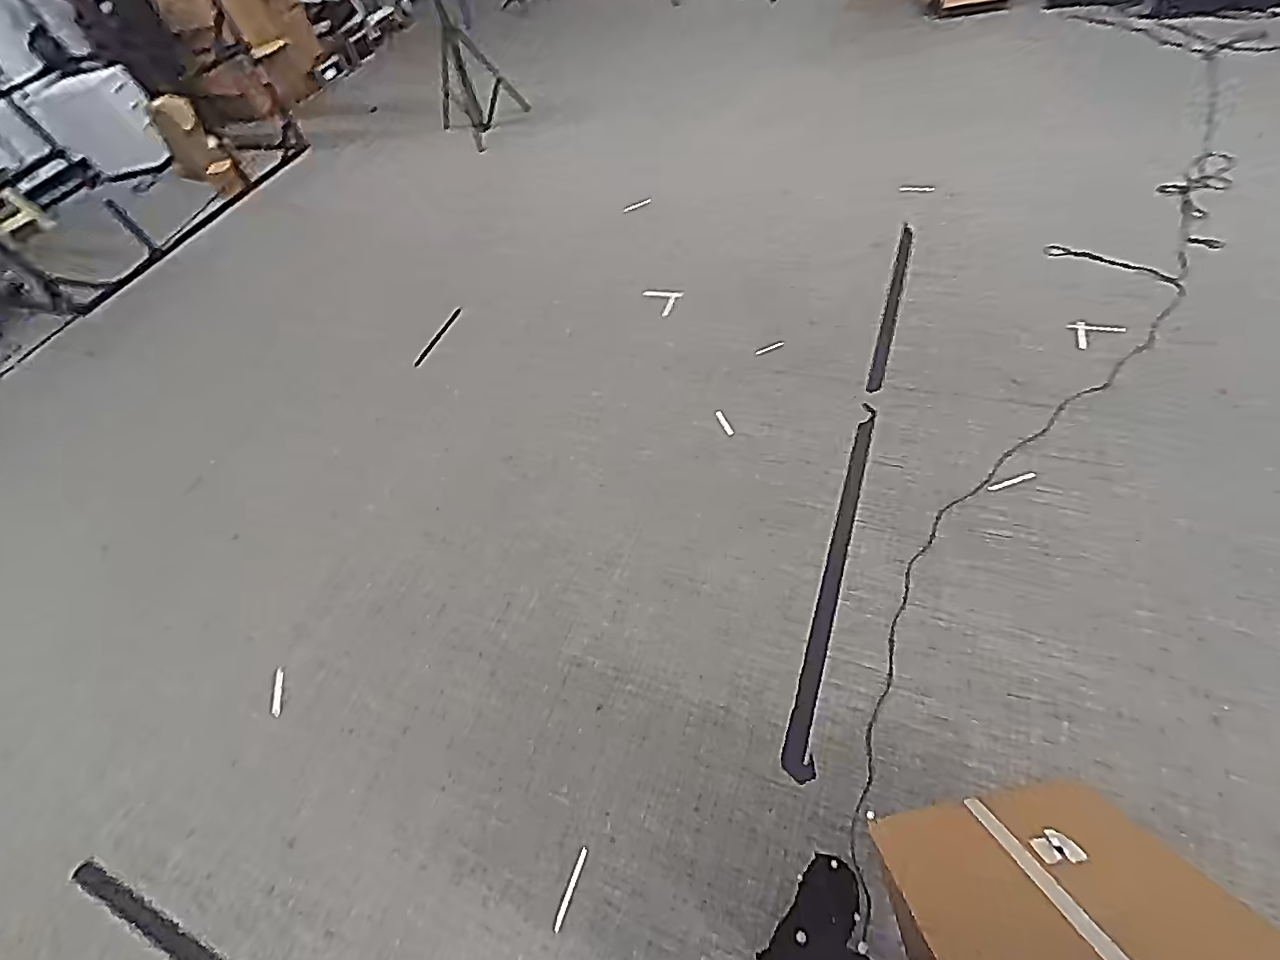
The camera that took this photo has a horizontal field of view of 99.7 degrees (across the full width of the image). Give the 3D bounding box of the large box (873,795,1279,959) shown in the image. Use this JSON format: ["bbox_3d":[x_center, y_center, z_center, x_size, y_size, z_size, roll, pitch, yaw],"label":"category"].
[{"bbox_3d":[0.522,0.641,0.610,0.320,0.408,0.320,-14,85,5],"label":"large box"}]
